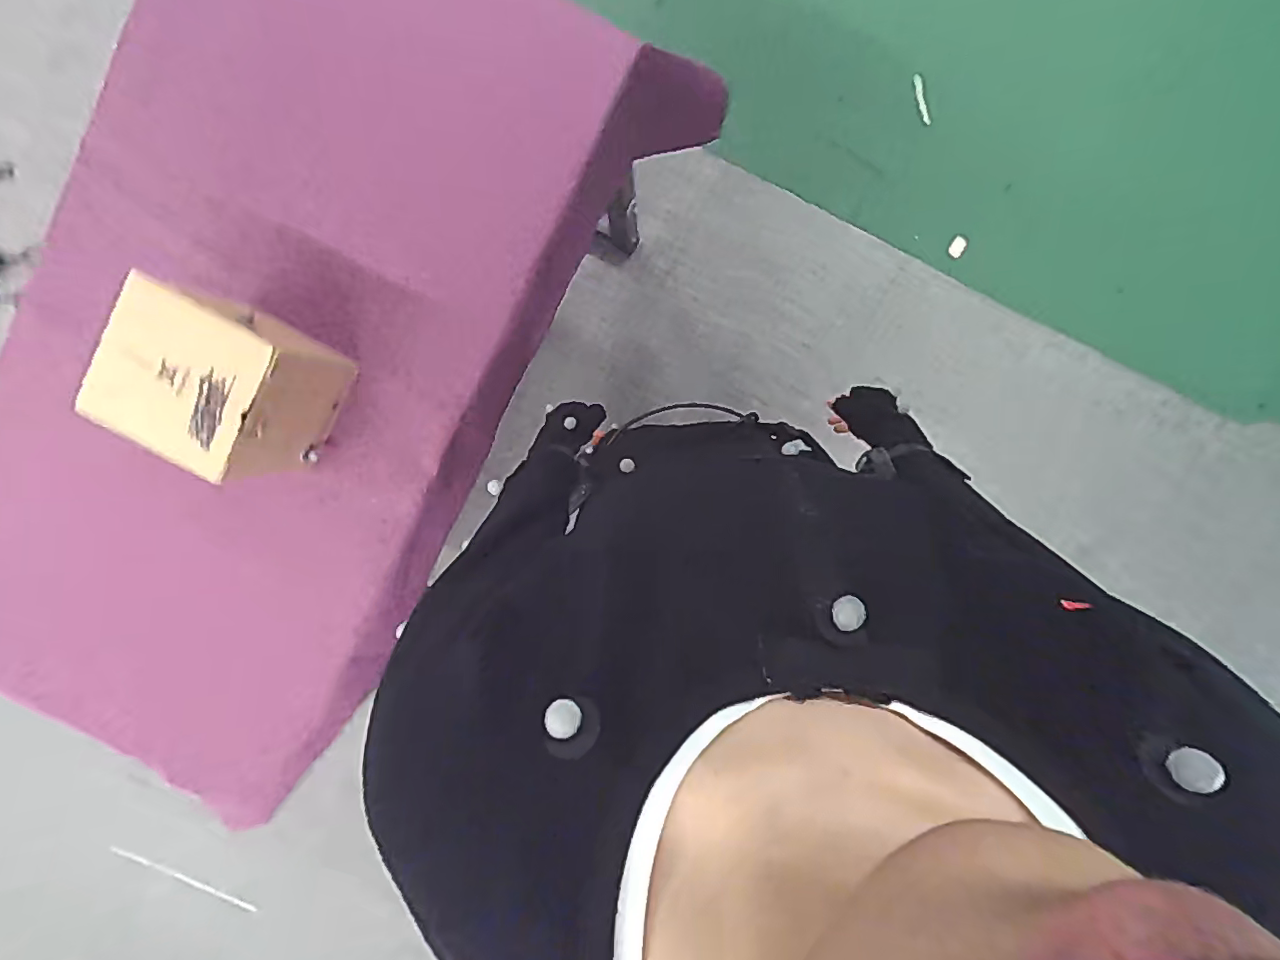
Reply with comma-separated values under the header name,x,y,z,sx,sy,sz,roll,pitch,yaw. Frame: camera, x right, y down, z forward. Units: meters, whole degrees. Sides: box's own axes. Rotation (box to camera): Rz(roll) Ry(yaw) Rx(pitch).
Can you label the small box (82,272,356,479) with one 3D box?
name,x,y,z,sx,sy,sz,roll,pitch,yaw
small box,-0.492,-0.120,0.662,0.179,0.176,0.168,29,95,-1
